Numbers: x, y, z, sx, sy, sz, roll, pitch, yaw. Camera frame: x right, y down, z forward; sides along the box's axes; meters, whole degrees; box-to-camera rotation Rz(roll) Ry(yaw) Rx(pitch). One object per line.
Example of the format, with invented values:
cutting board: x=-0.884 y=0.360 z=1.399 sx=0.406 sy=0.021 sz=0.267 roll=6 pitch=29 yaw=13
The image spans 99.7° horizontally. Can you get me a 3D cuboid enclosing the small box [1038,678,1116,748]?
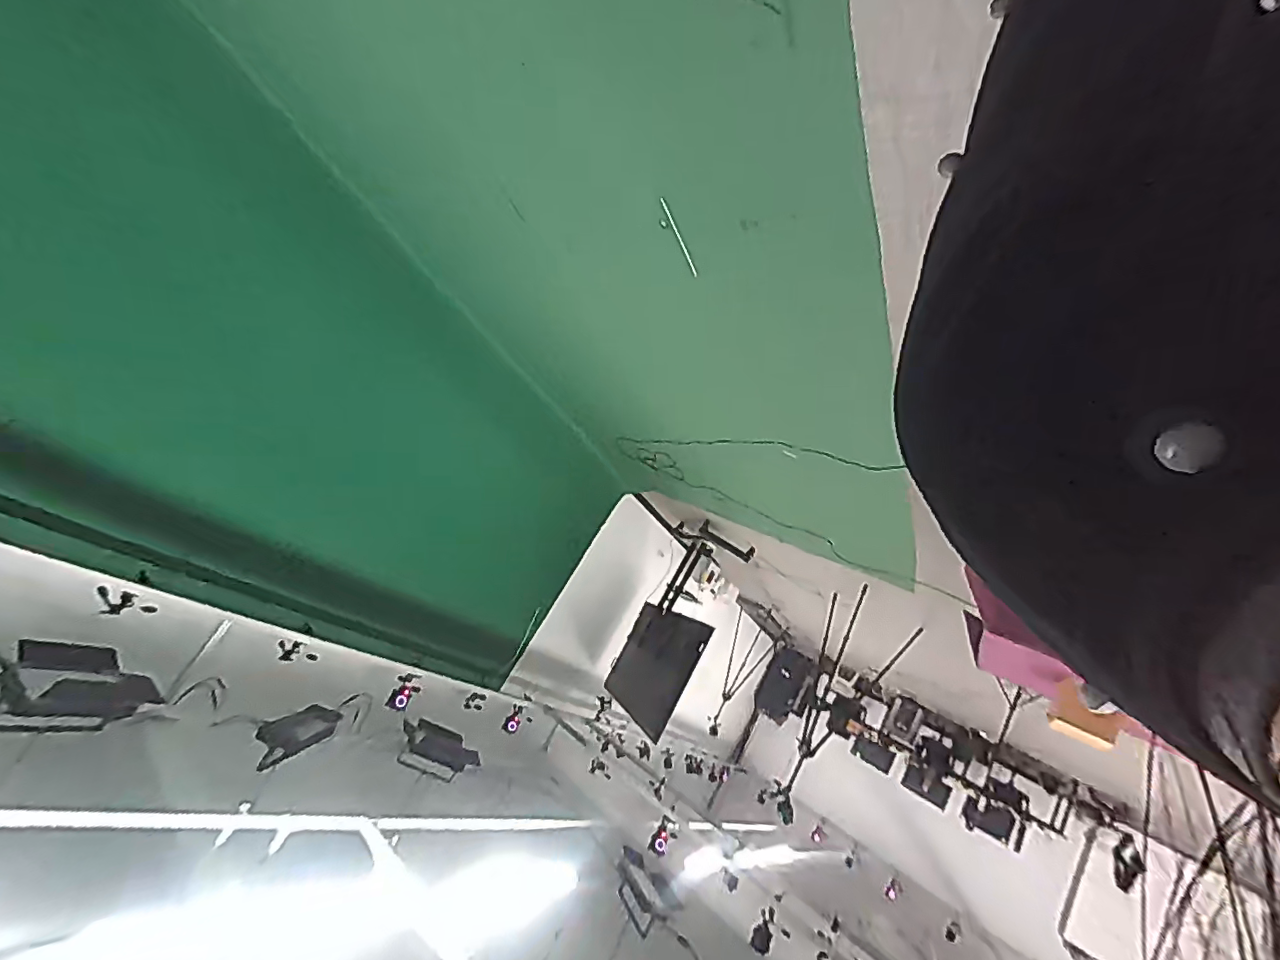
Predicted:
small box: x=1.557 y=0.826 z=1.926 sx=0.168 sy=0.176 sz=0.179 roll=21 pitch=163 yaw=34
